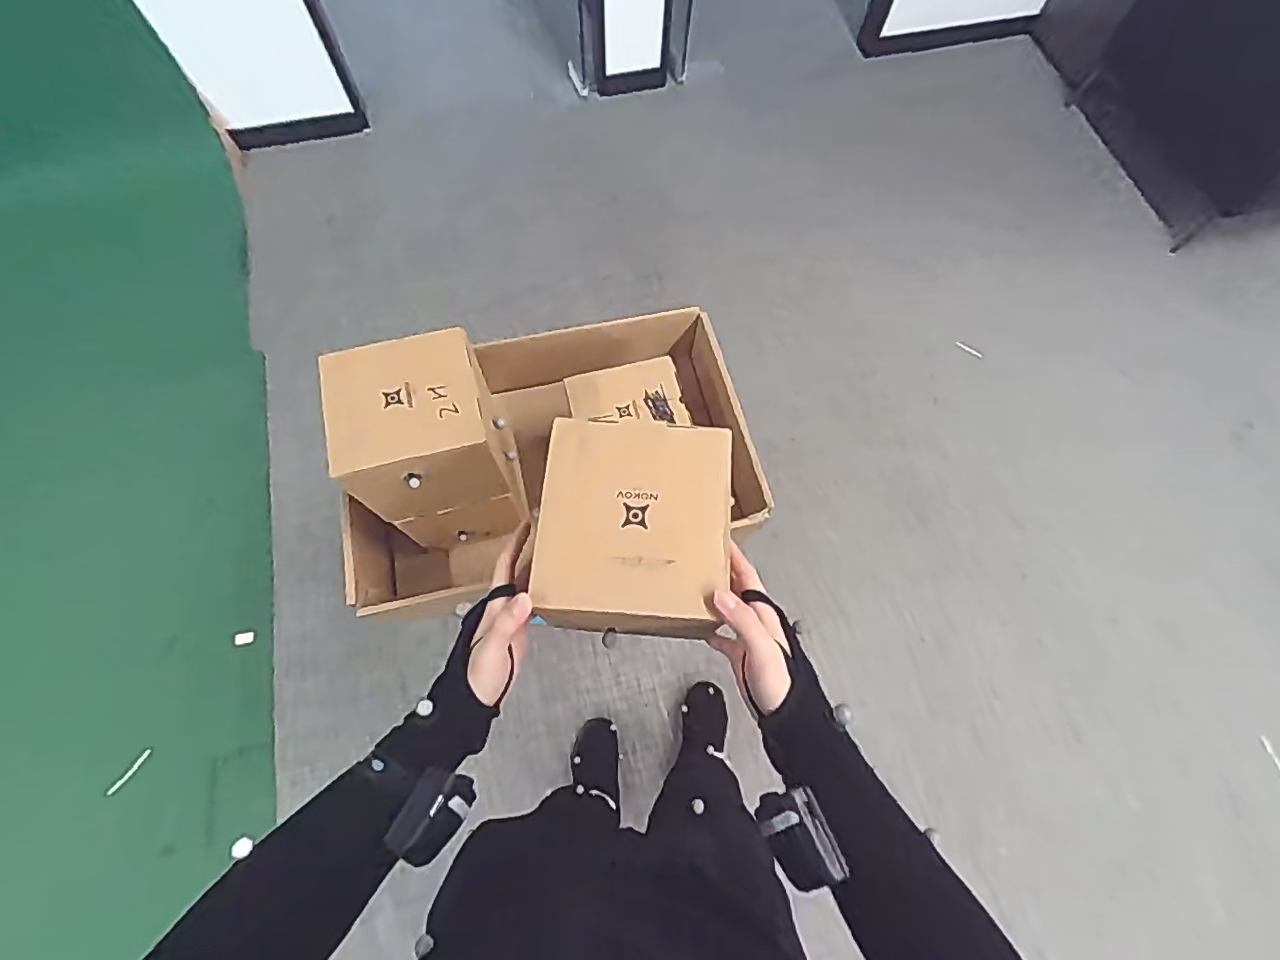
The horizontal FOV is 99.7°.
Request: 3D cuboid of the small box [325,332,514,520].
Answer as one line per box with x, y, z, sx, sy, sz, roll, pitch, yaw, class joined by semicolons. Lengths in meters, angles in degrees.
-0.278;-0.061;0.707;0.179;0.176;0.168;-14;70;-8;small box
